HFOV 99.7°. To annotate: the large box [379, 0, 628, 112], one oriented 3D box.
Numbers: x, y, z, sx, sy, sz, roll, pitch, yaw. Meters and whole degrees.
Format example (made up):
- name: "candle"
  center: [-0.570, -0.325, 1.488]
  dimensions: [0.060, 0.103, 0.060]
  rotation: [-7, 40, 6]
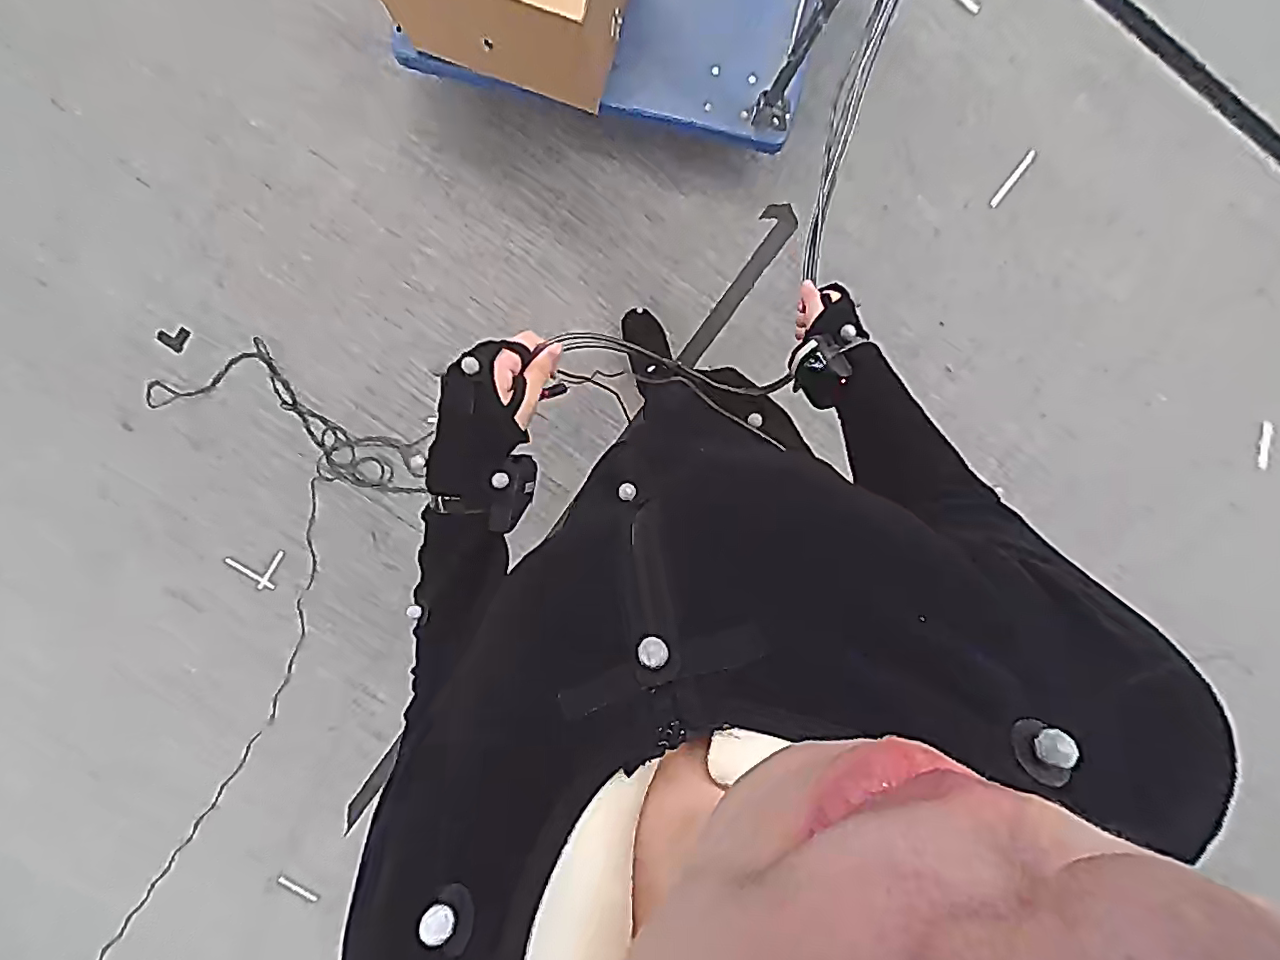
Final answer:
- name: "large box"
  center: [-0.233, -0.943, 0.968]
  dimensions: [0.408, 0.320, 0.320]
  rotation: [17, 99, -2]
